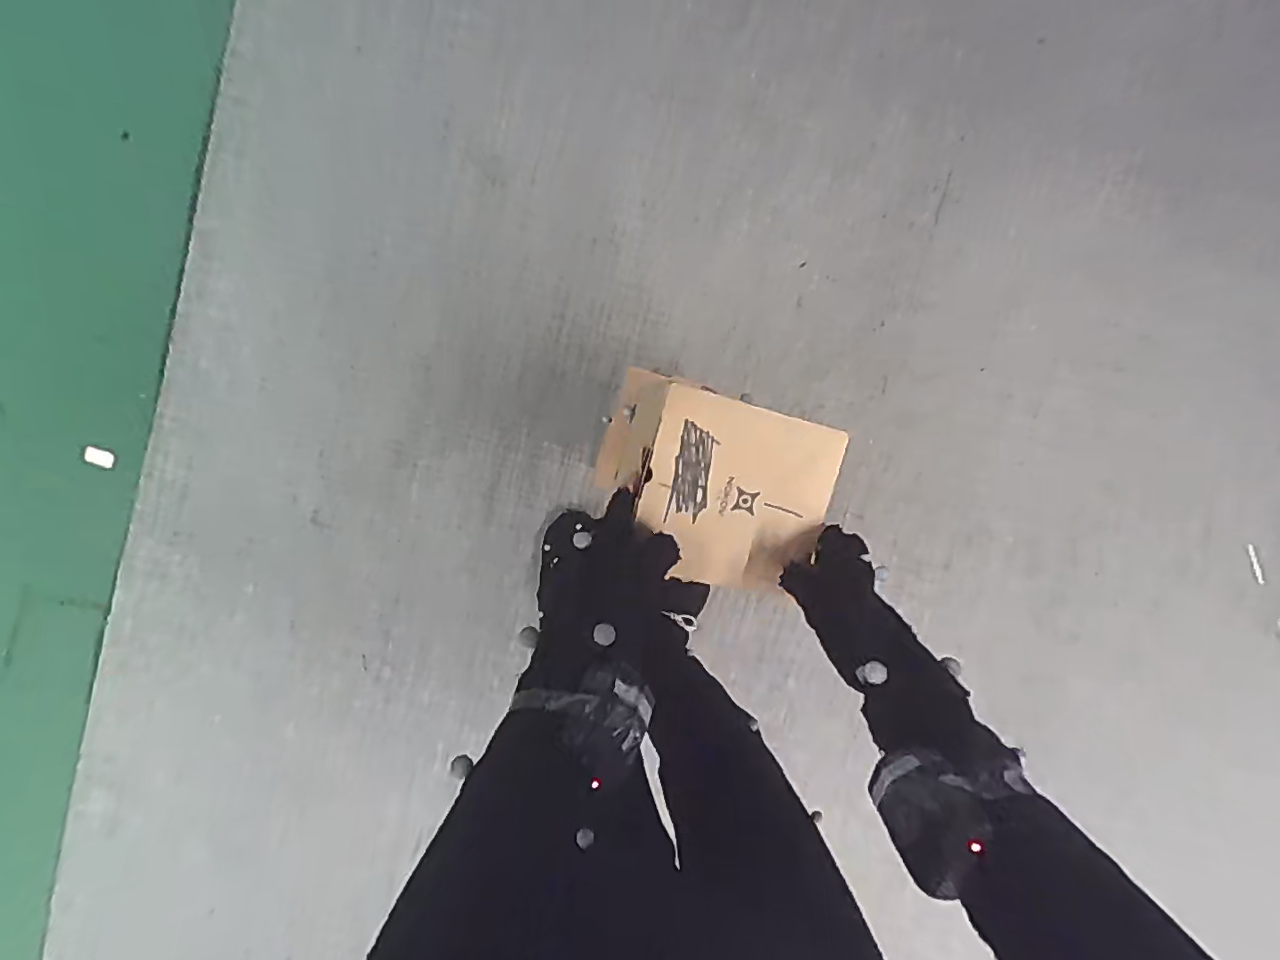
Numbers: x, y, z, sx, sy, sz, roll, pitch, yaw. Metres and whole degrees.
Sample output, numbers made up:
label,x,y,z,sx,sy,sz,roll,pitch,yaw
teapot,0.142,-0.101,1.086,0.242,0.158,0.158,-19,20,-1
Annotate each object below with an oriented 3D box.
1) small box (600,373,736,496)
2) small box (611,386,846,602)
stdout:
label,x,y,z,sx,sy,sz,roll,pitch,yaw
small box,0.040,-0.051,0.838,0.168,0.176,0.179,17,95,-4
small box,0.075,0.007,0.567,0.179,0.176,0.168,14,96,-11
